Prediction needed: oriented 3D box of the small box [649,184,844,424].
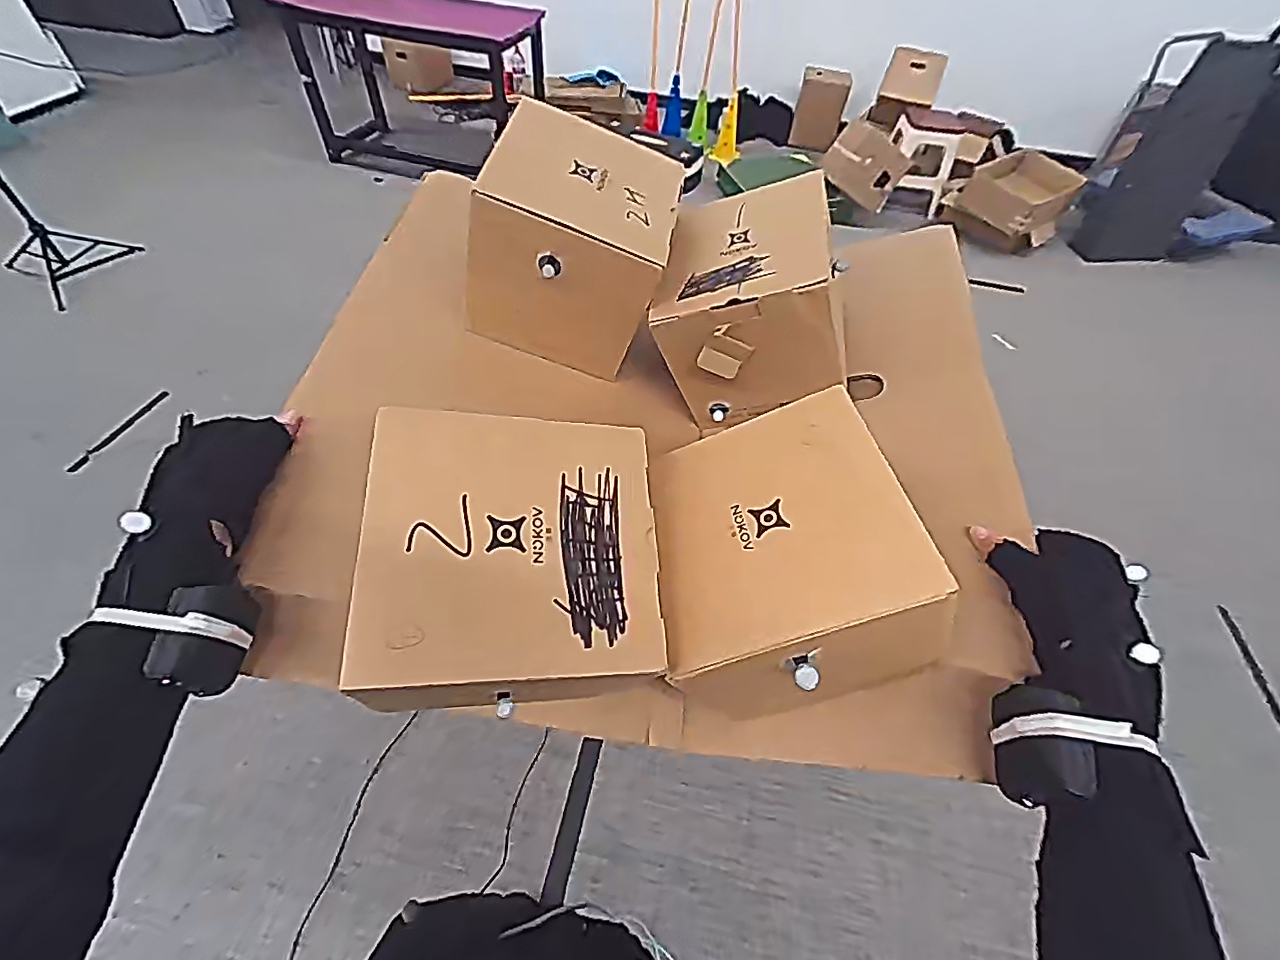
[{"bbox_3d":[0.126,-0.175,0.591,0.168,0.176,0.179,-5,54,24],"label":"small box"}]
